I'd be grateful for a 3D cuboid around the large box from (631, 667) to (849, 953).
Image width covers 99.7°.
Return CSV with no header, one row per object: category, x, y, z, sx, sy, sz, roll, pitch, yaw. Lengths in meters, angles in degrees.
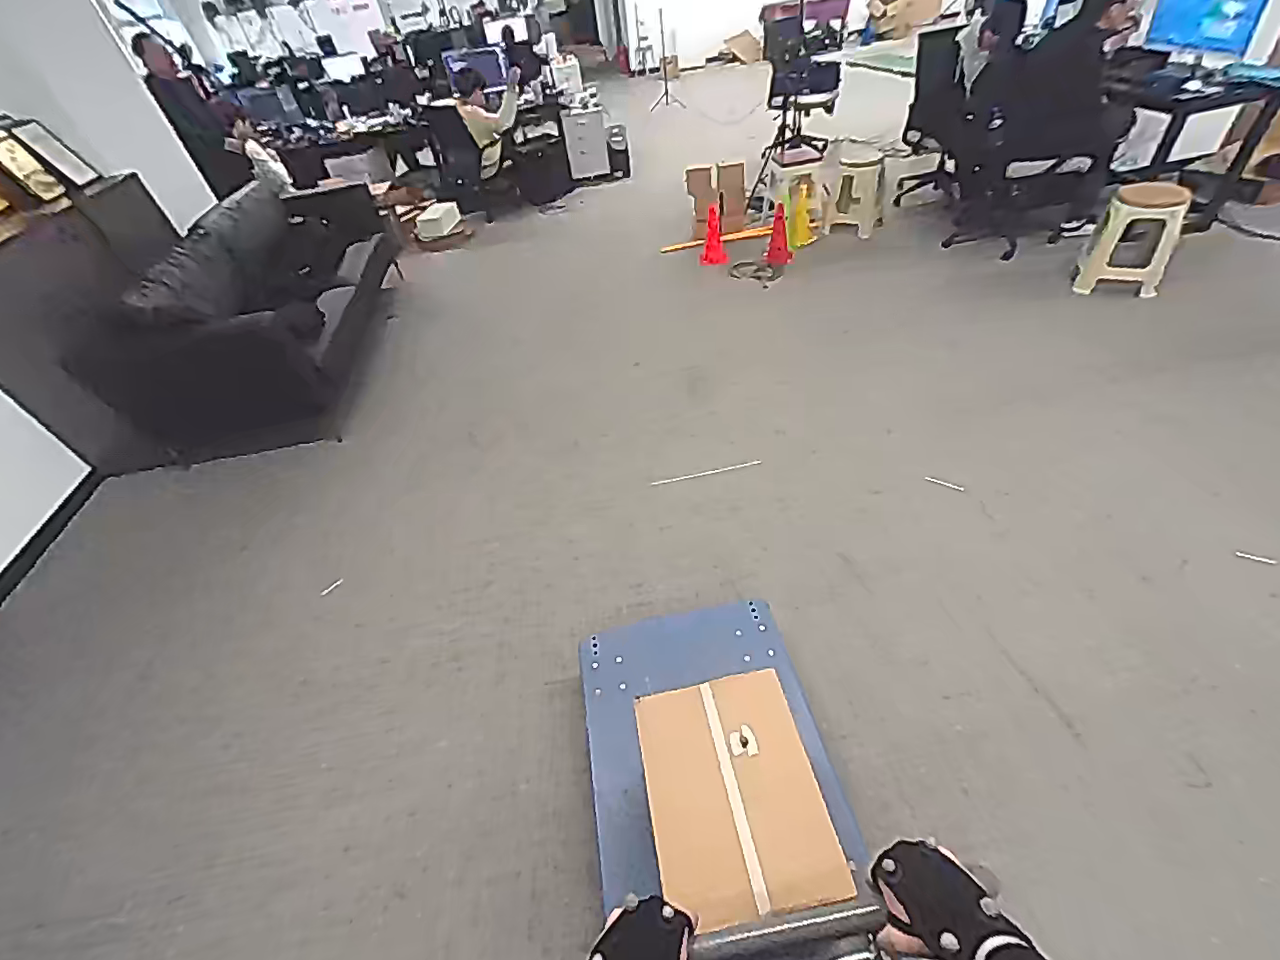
large box,0.186,0.677,1.127,0.320,0.320,0.408,-12,43,-2
